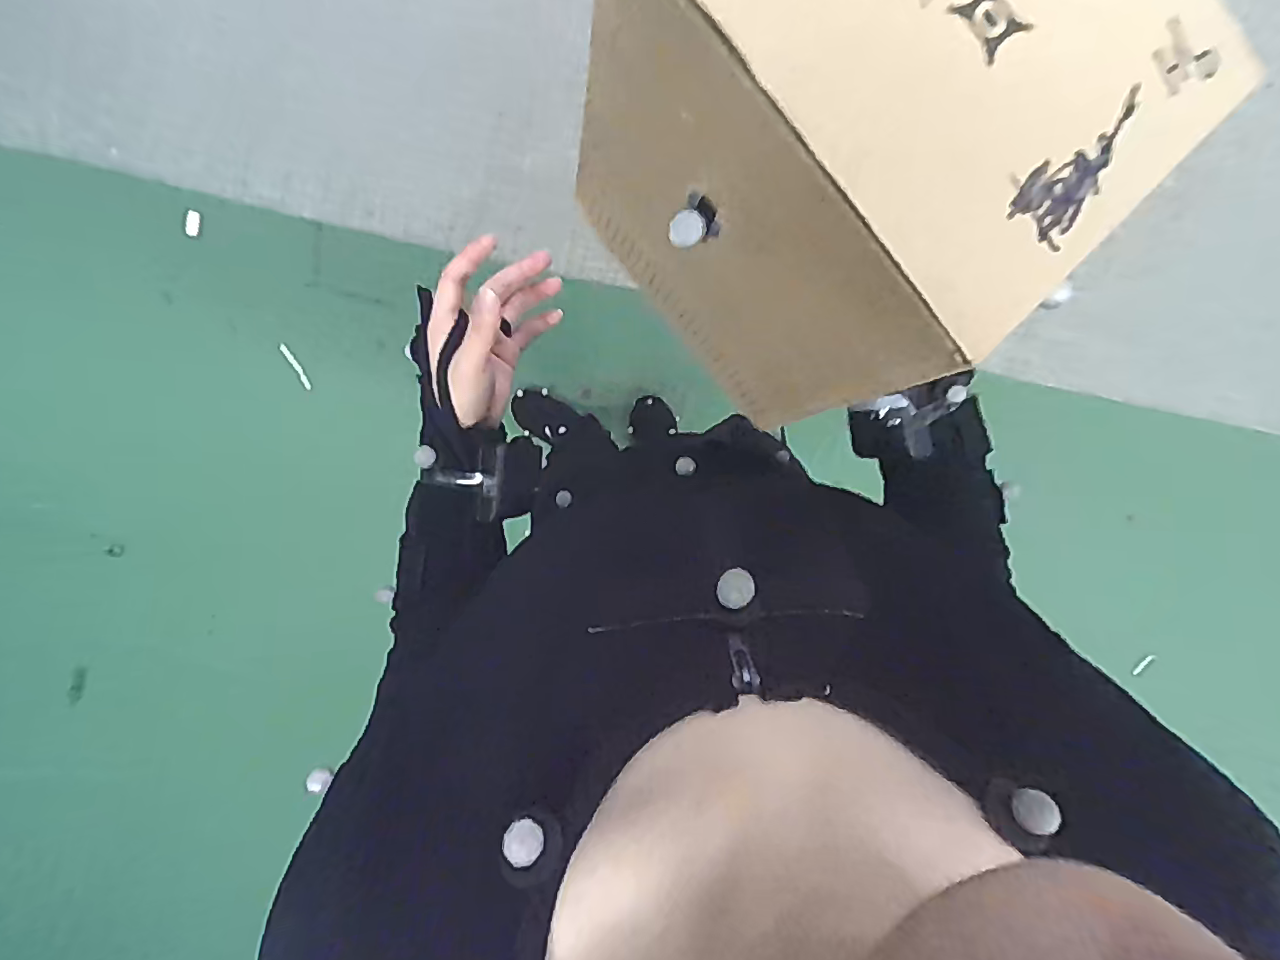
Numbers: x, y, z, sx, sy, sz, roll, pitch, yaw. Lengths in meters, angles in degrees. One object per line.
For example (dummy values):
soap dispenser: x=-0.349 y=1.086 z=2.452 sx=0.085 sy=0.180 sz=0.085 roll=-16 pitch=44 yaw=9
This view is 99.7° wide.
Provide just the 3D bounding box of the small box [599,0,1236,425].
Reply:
small box: x=0.096 y=-0.148 z=0.264 sx=0.168 sy=0.176 sz=0.179 roll=-43 pitch=94 yaw=-9
